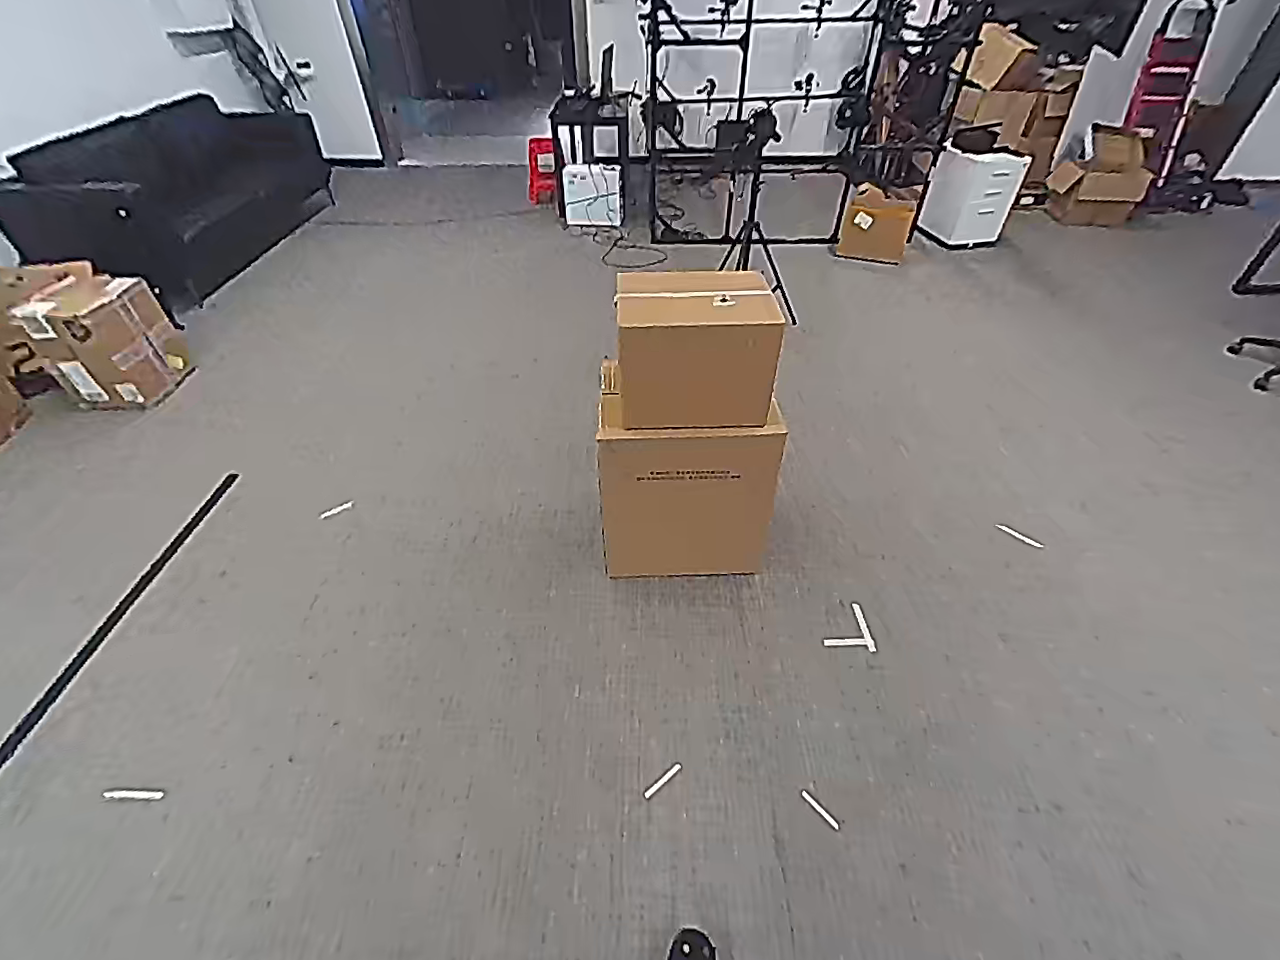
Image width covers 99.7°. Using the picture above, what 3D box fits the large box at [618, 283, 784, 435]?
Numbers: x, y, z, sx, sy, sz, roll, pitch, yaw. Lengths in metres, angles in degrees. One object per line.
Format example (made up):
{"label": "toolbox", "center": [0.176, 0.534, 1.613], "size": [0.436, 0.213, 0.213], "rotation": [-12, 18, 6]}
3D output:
{"label": "large box", "center": [0.144, -0.341, 1.514], "size": [0.408, 0.320, 0.320], "rotation": [-1, 43, -2]}
